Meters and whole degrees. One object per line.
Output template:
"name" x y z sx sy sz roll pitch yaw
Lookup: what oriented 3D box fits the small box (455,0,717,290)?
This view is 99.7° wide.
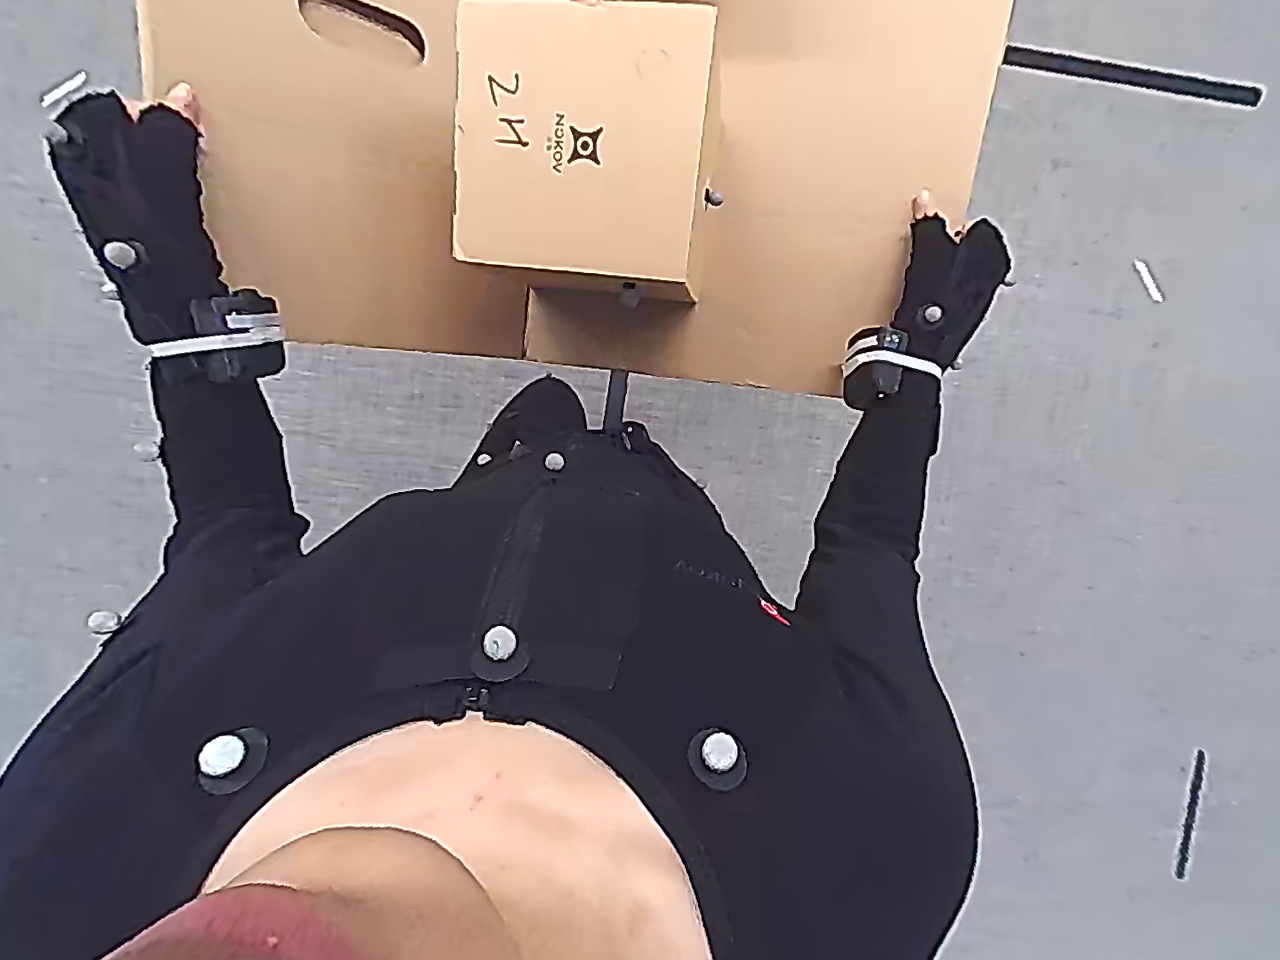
"small box" -0.033 -0.258 0.453 0.179 0.176 0.168 9 104 8
